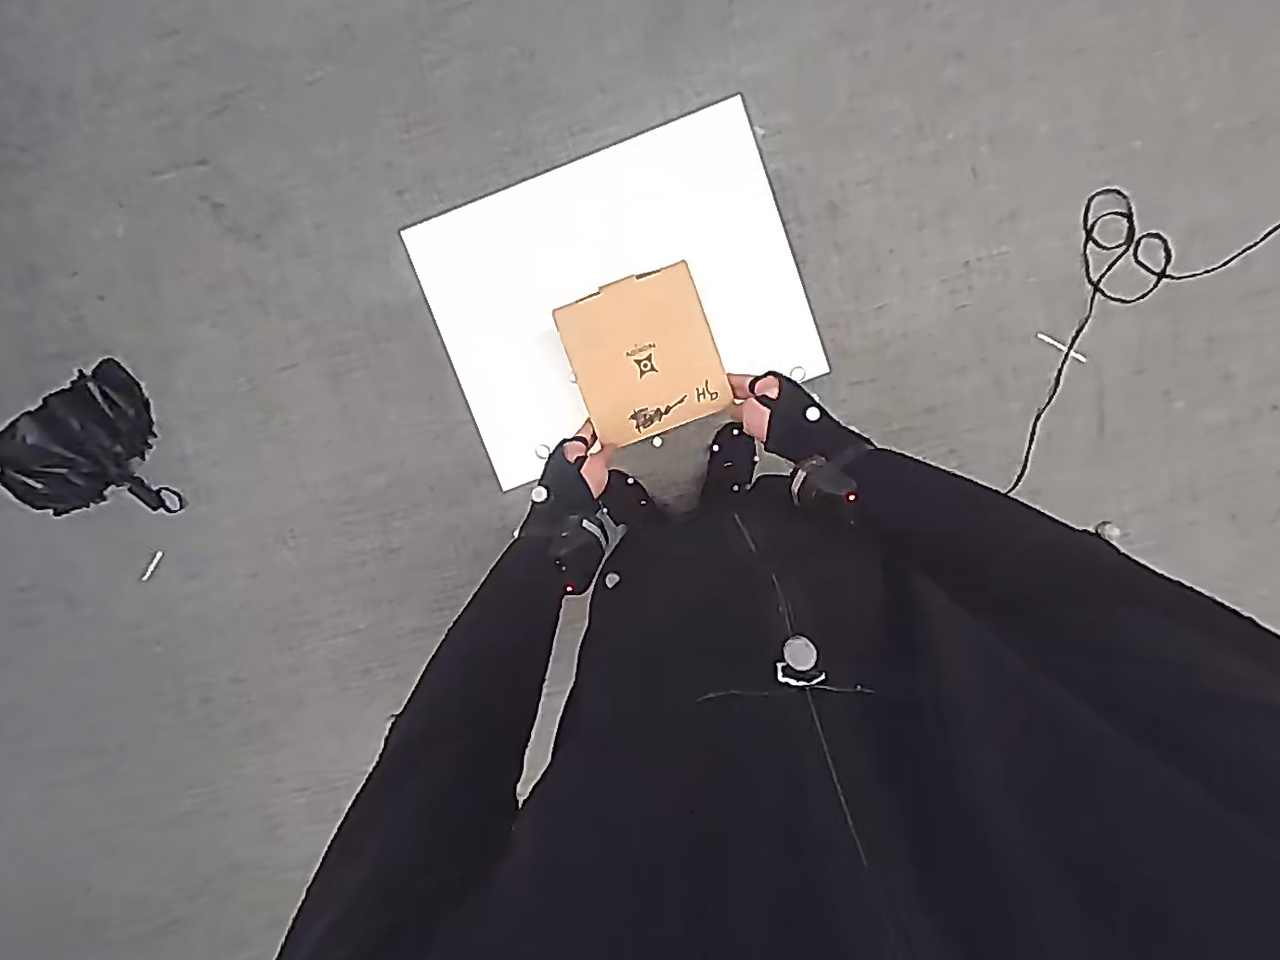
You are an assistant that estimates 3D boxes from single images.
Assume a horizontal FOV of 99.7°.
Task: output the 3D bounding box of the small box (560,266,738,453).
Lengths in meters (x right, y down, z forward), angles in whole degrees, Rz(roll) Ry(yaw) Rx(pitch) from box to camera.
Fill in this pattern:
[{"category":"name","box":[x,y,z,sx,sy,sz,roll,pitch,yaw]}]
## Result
[{"category":"small box","box":[0.012,-0.144,0.703,0.168,0.176,0.179,-20,95,4]}]
